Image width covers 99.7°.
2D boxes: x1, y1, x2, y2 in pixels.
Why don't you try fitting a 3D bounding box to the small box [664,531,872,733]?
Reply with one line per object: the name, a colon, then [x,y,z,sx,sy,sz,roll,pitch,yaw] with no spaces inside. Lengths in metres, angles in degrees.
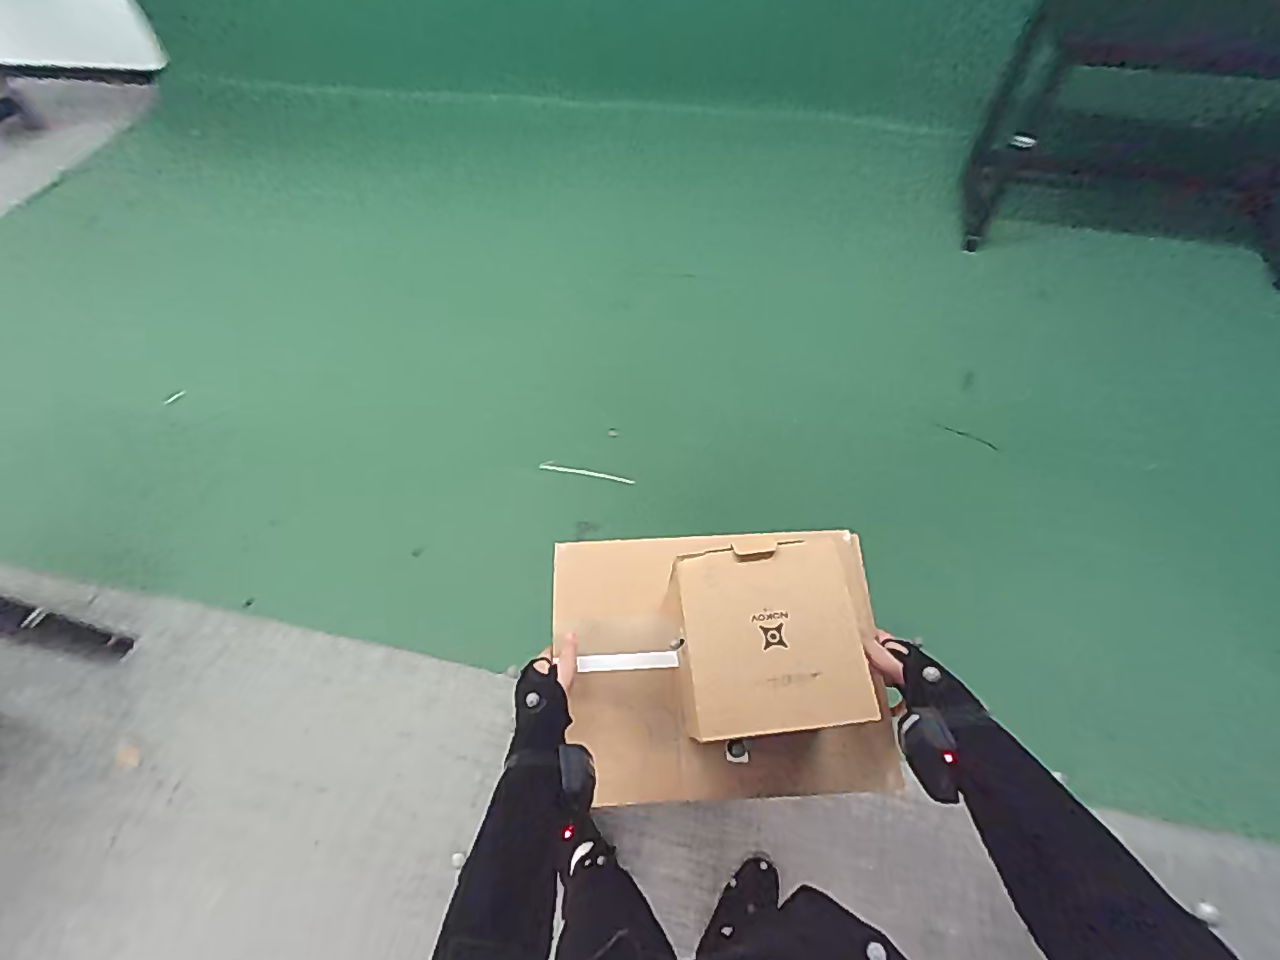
small box: [0.119,0.171,0.587,0.168,0.176,0.179,-7,67,-2]
